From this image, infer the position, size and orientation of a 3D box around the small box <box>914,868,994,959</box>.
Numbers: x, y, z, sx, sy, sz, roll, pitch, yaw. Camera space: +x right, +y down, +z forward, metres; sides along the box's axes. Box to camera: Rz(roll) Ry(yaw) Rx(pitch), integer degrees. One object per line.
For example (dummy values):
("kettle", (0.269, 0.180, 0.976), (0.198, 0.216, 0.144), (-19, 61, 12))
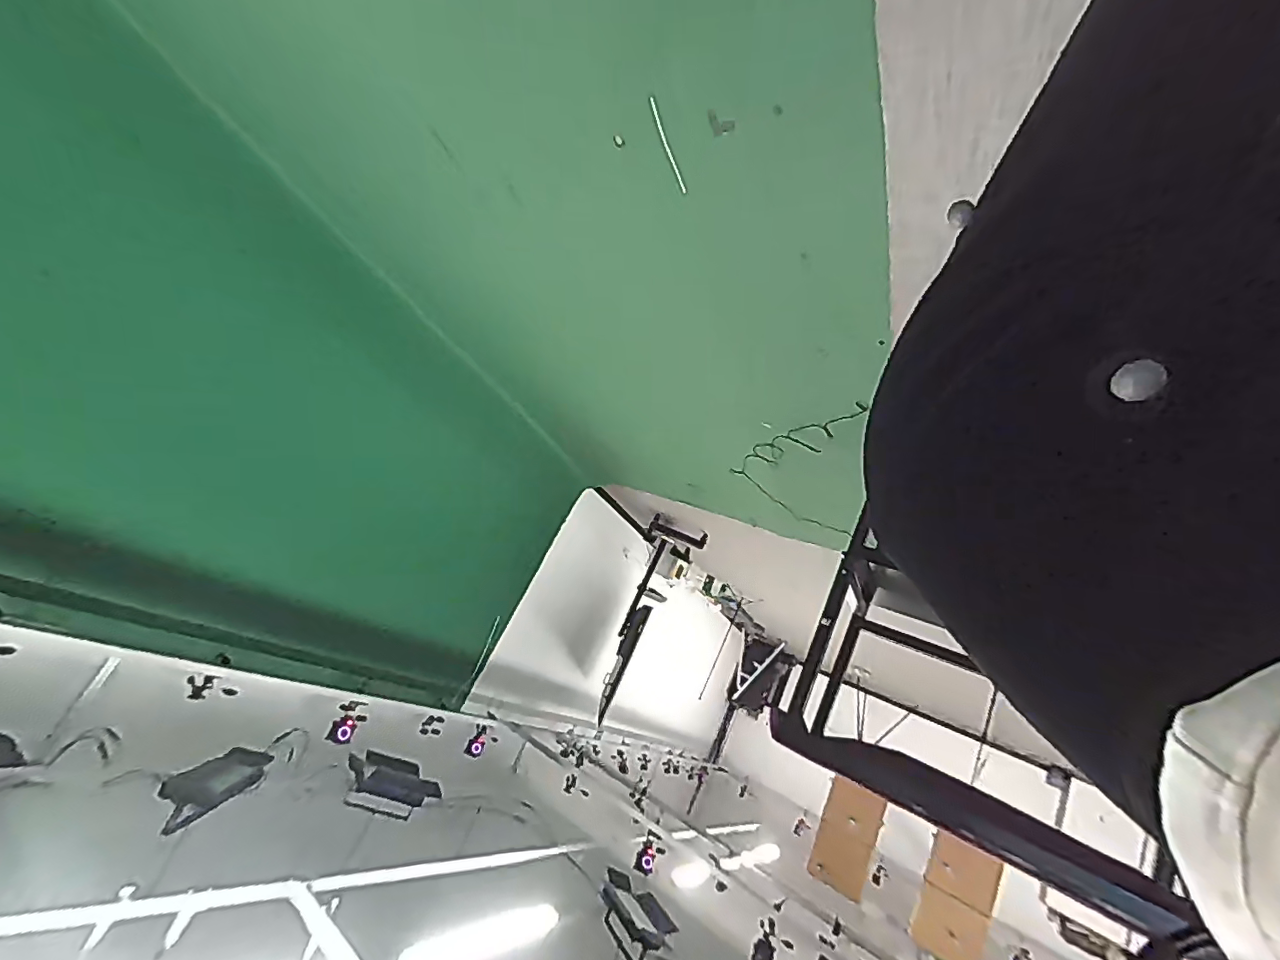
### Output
("small box", (0.944, 1.315, 1.627), (0.179, 0.176, 0.168), (16, 161, 32))

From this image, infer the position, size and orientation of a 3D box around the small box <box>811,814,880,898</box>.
("small box", (0.690, 1.239, 1.803), (0.179, 0.176, 0.168), (17, 159, 31))

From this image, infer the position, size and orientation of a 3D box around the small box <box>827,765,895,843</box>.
("small box", (0.760, 1.101, 1.850), (0.179, 0.176, 0.168), (17, 160, 32))
